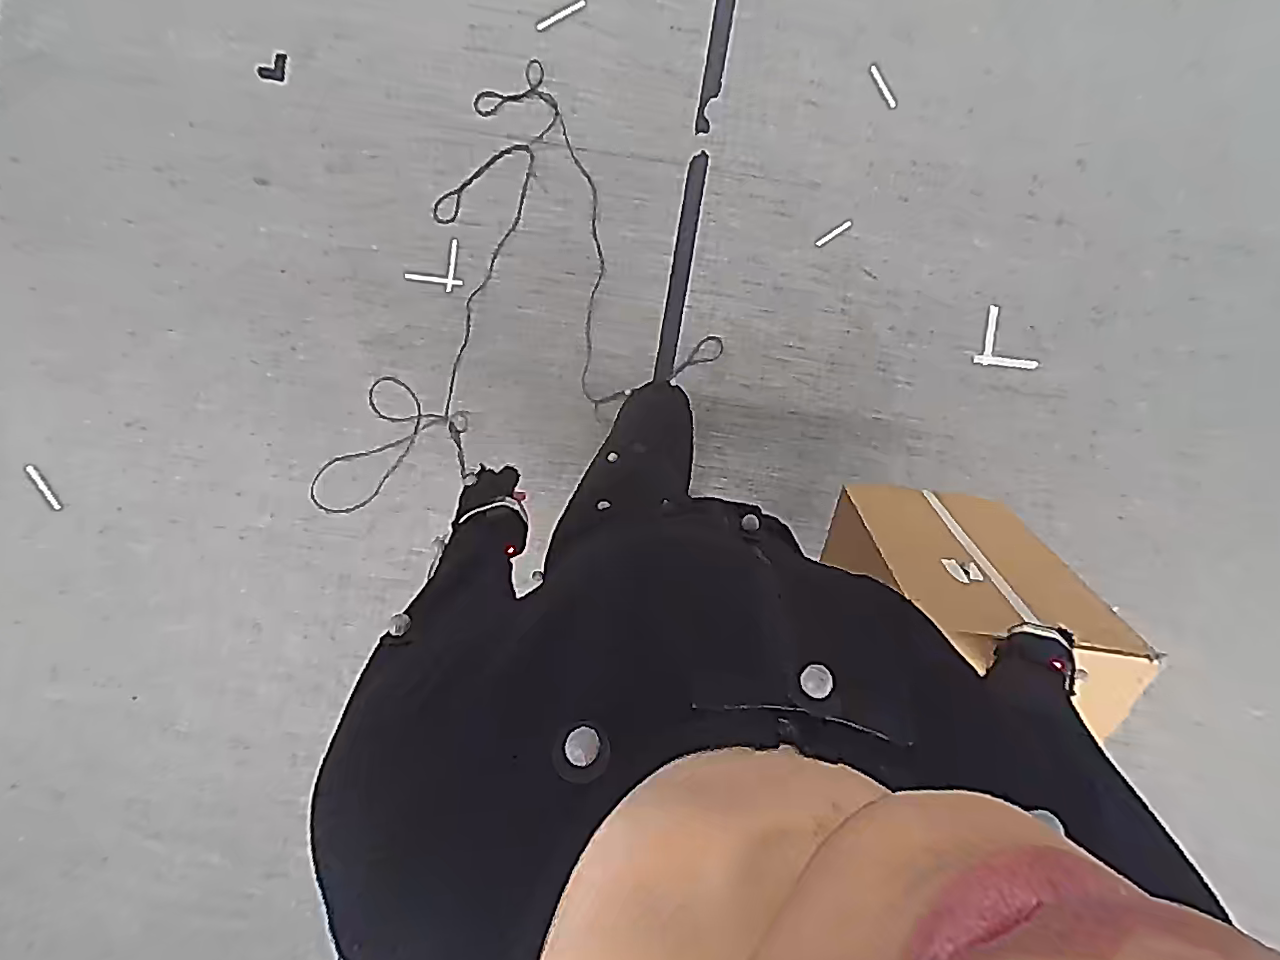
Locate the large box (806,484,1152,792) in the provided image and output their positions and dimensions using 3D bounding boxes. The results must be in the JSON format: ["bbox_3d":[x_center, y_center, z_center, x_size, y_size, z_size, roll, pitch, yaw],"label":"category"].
[{"bbox_3d":[0.519,0.252,0.955,0.320,0.408,0.320,7,119,1],"label":"large box"}]
